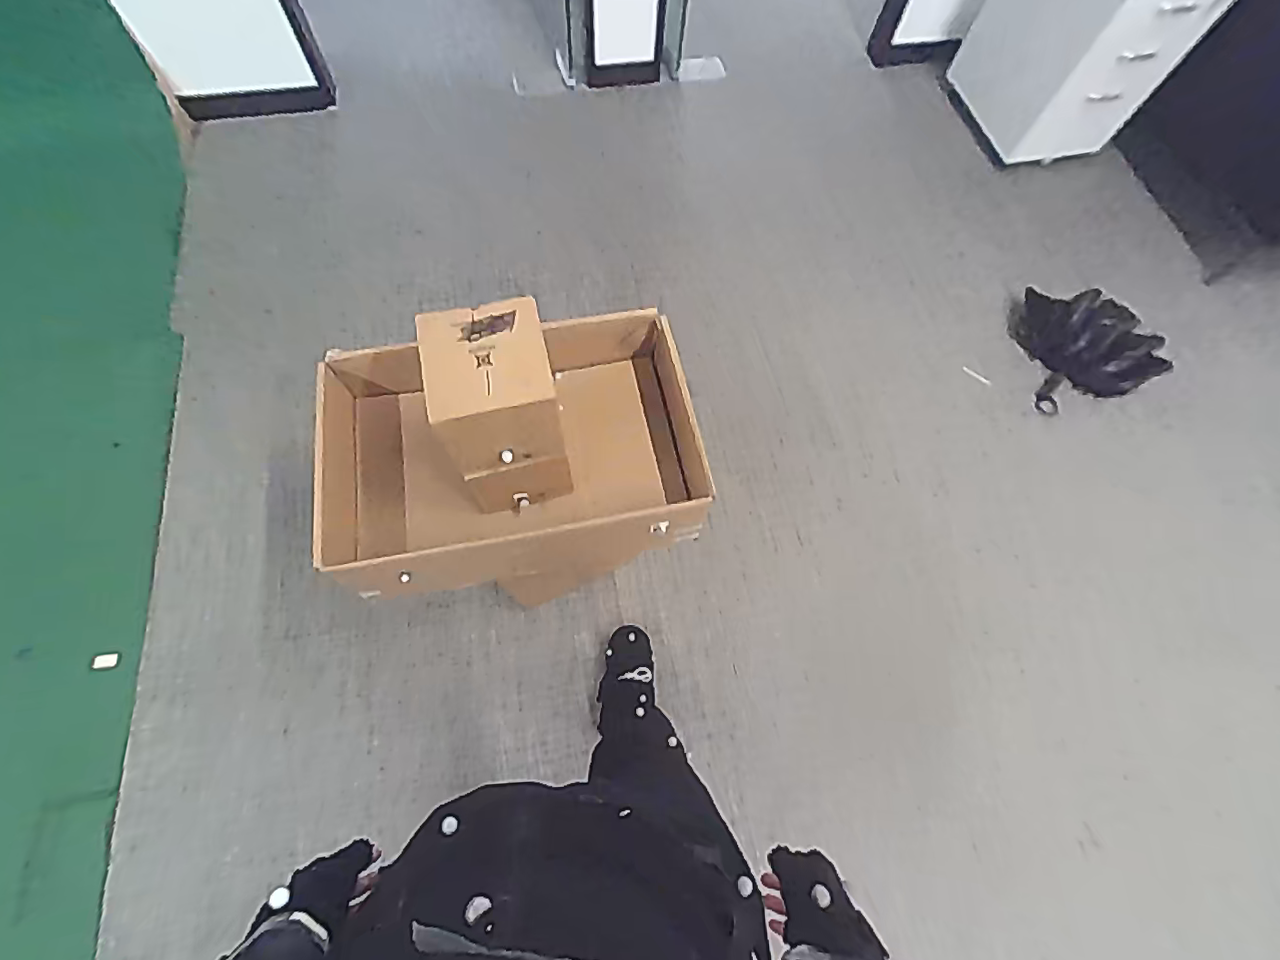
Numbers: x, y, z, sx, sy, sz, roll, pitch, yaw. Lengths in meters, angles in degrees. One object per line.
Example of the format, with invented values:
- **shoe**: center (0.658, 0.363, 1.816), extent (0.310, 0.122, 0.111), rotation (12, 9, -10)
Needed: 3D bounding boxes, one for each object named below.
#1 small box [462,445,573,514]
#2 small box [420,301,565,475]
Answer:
- **small box**: center (-0.219, -0.062, 0.949), extent (0.168, 0.176, 0.179), rotation (-14, 68, -8)
- **small box**: center (-0.211, -0.130, 0.801), extent (0.168, 0.176, 0.179), rotation (-13, 68, -7)
